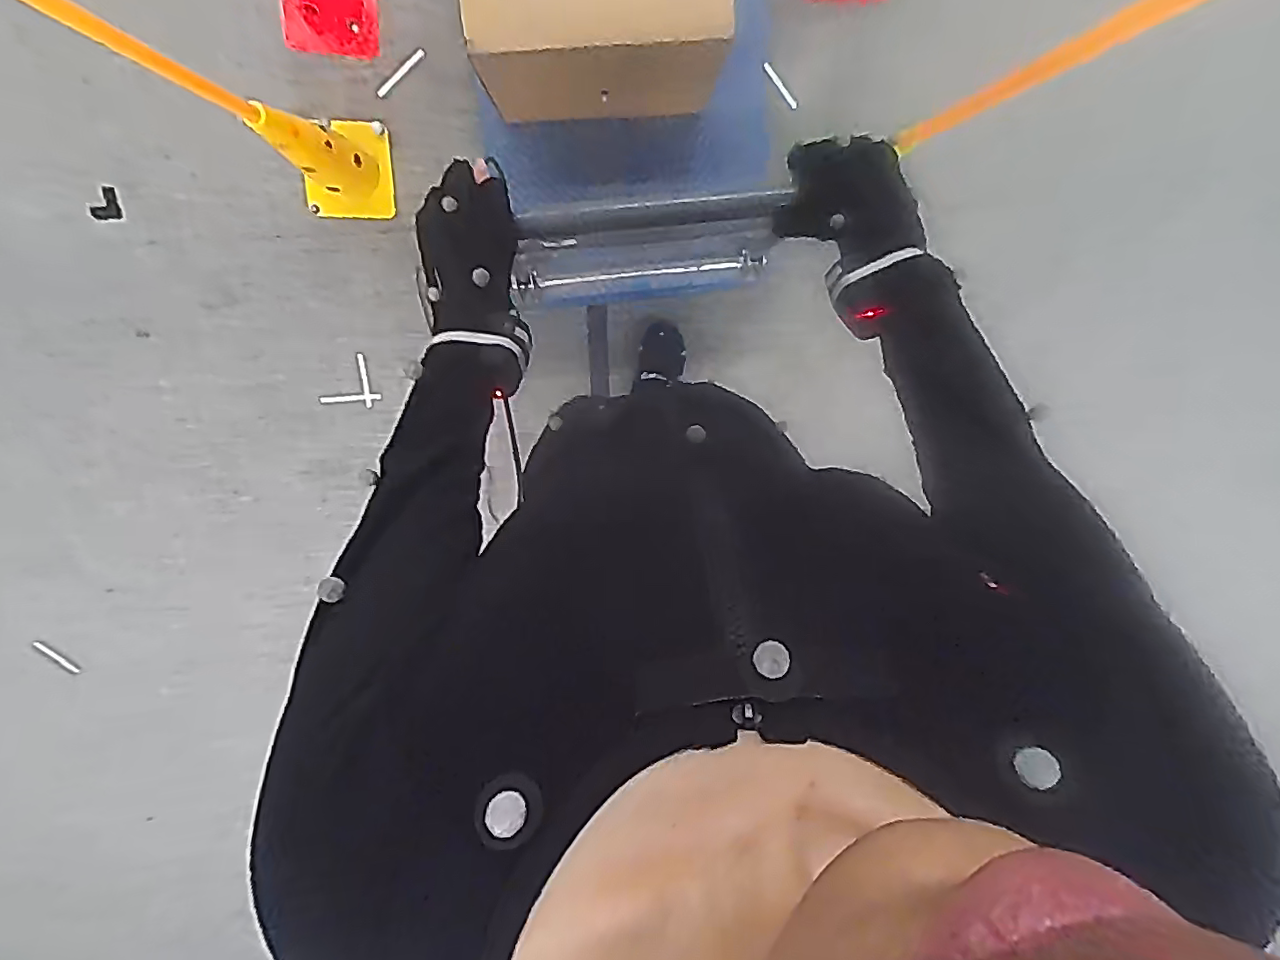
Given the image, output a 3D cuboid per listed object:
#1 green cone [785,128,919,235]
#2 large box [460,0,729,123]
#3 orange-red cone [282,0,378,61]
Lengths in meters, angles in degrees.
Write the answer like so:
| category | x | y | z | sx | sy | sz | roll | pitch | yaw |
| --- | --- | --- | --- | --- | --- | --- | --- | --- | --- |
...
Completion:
| category | x | y | z | sx | sy | sz | roll | pitch | yaw |
| --- | --- | --- | --- | --- | --- | --- | --- | --- | --- |
| green cone | 0.467 | -0.657 | 1.144 | 0.202 | 0.368 | 0.200 | 0 | 106 | -4 |
| large box | -0.078 | -0.841 | 0.916 | 0.408 | 0.320 | 0.320 | -5 | 106 | -1 |
| orange-red cone | -0.657 | -0.984 | 1.000 | 0.198 | 0.360 | 0.199 | 4 | 104 | -5 |
